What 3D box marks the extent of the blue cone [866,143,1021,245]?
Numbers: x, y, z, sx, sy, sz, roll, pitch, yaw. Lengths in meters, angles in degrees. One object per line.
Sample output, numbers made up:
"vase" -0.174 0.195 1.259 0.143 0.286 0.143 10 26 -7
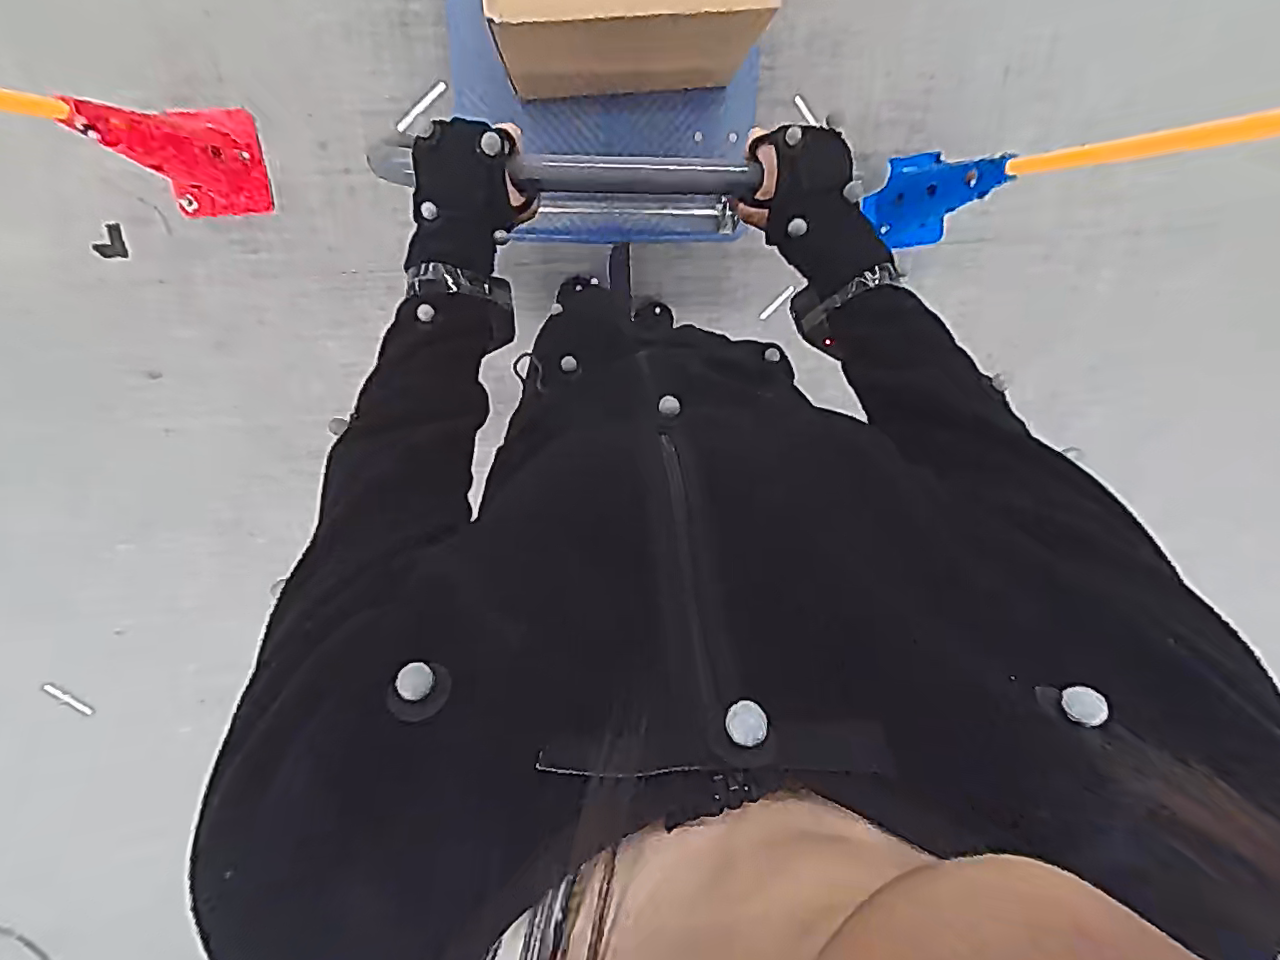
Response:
"blue cone" 0.643 -0.619 1.130 0.193 0.380 0.192 -7 107 -3
